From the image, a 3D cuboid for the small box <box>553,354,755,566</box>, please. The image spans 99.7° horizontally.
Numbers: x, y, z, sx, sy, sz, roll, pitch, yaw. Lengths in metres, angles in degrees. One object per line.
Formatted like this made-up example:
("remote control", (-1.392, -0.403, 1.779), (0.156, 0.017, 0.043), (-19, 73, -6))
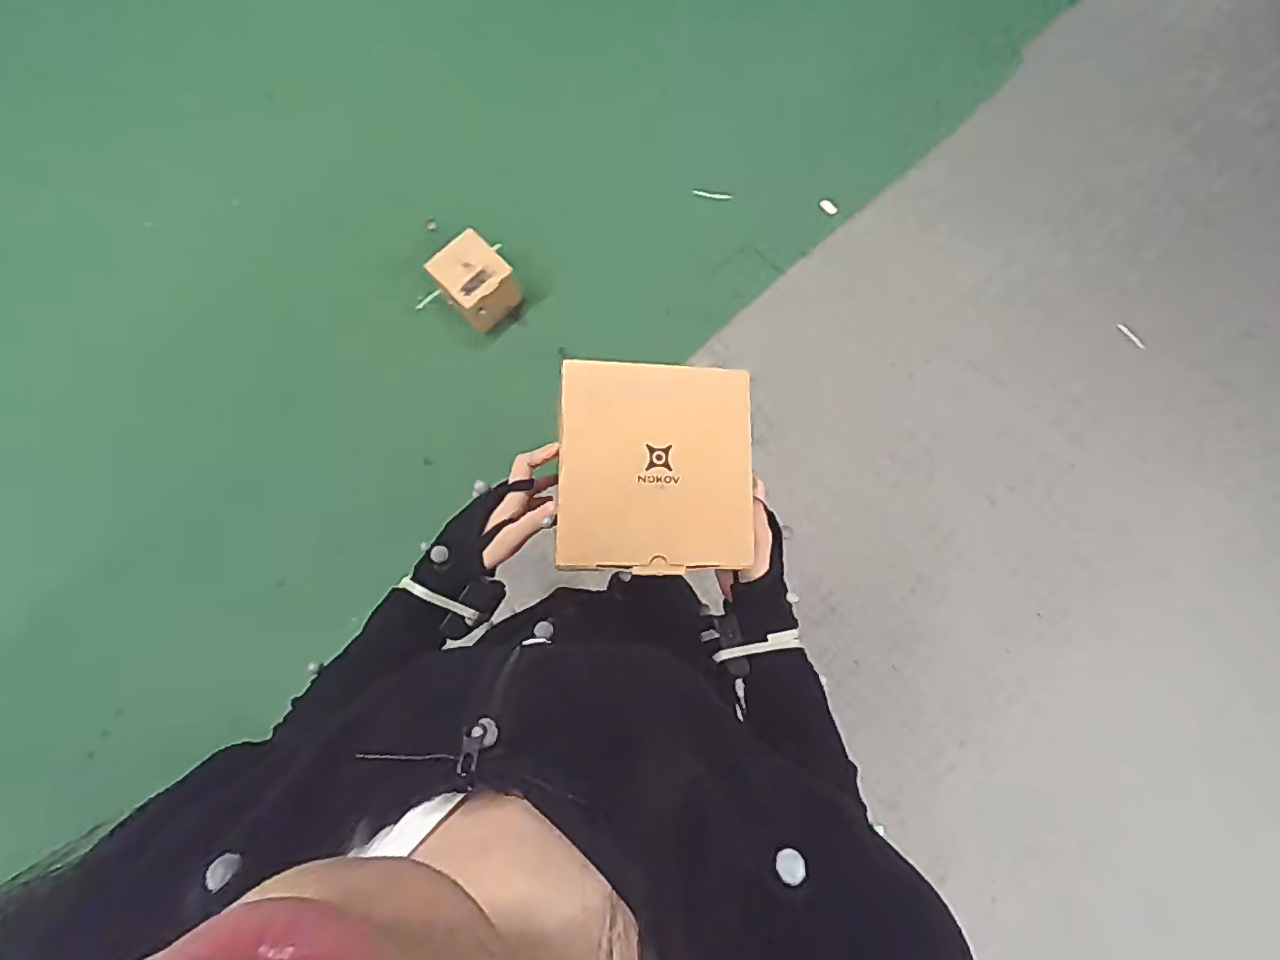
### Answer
("small box", (0.001, -0.006, 0.528), (0.168, 0.176, 0.179), (1, 82, -10))
